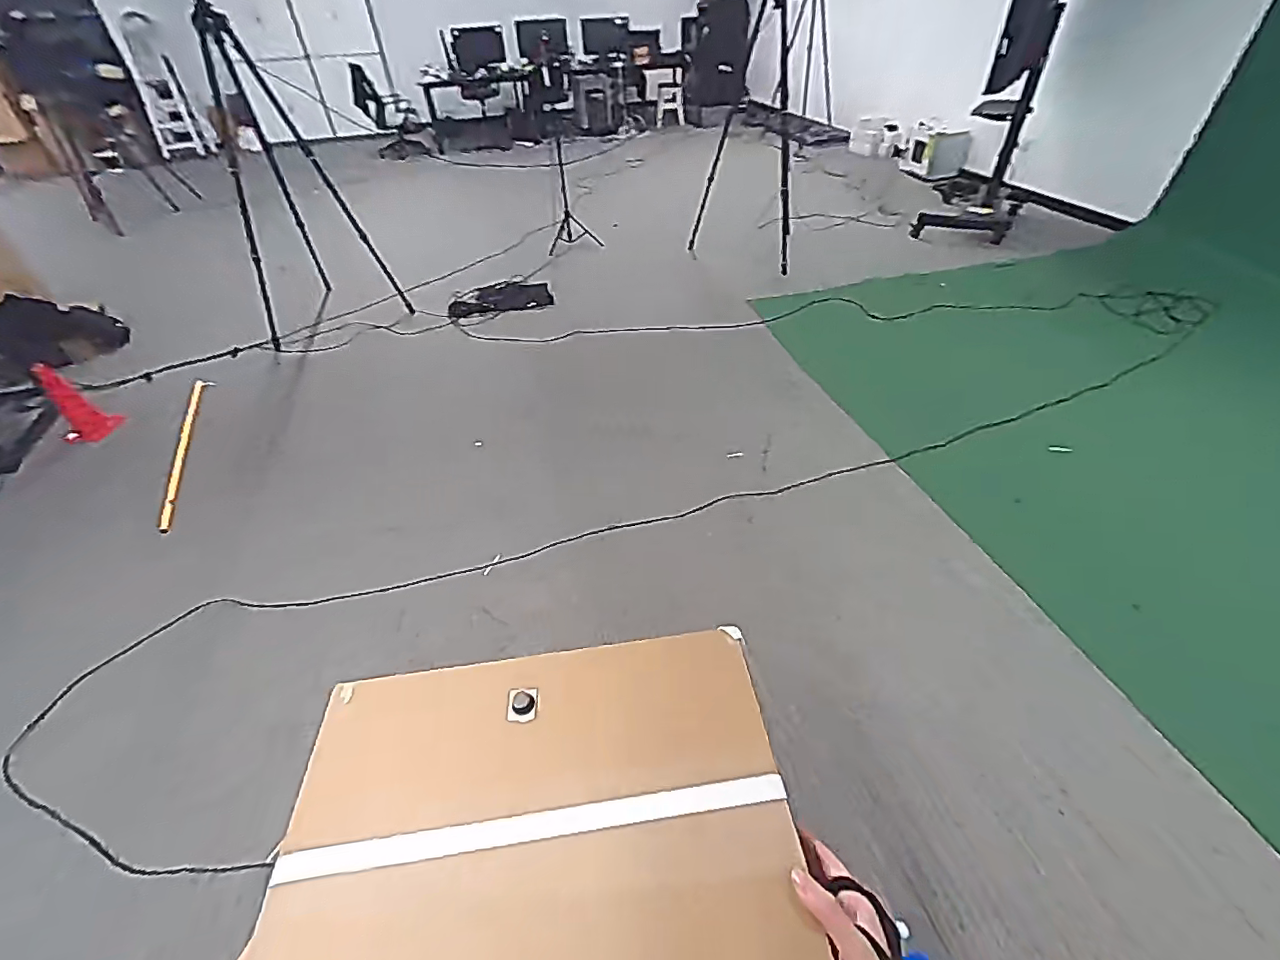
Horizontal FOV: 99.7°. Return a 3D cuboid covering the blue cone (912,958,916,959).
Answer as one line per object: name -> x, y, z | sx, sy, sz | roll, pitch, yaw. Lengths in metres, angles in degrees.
blue cone -> 0.521, 0.932, 0.910 | 0.192, 0.380, 0.193 | -14, 45, -12
